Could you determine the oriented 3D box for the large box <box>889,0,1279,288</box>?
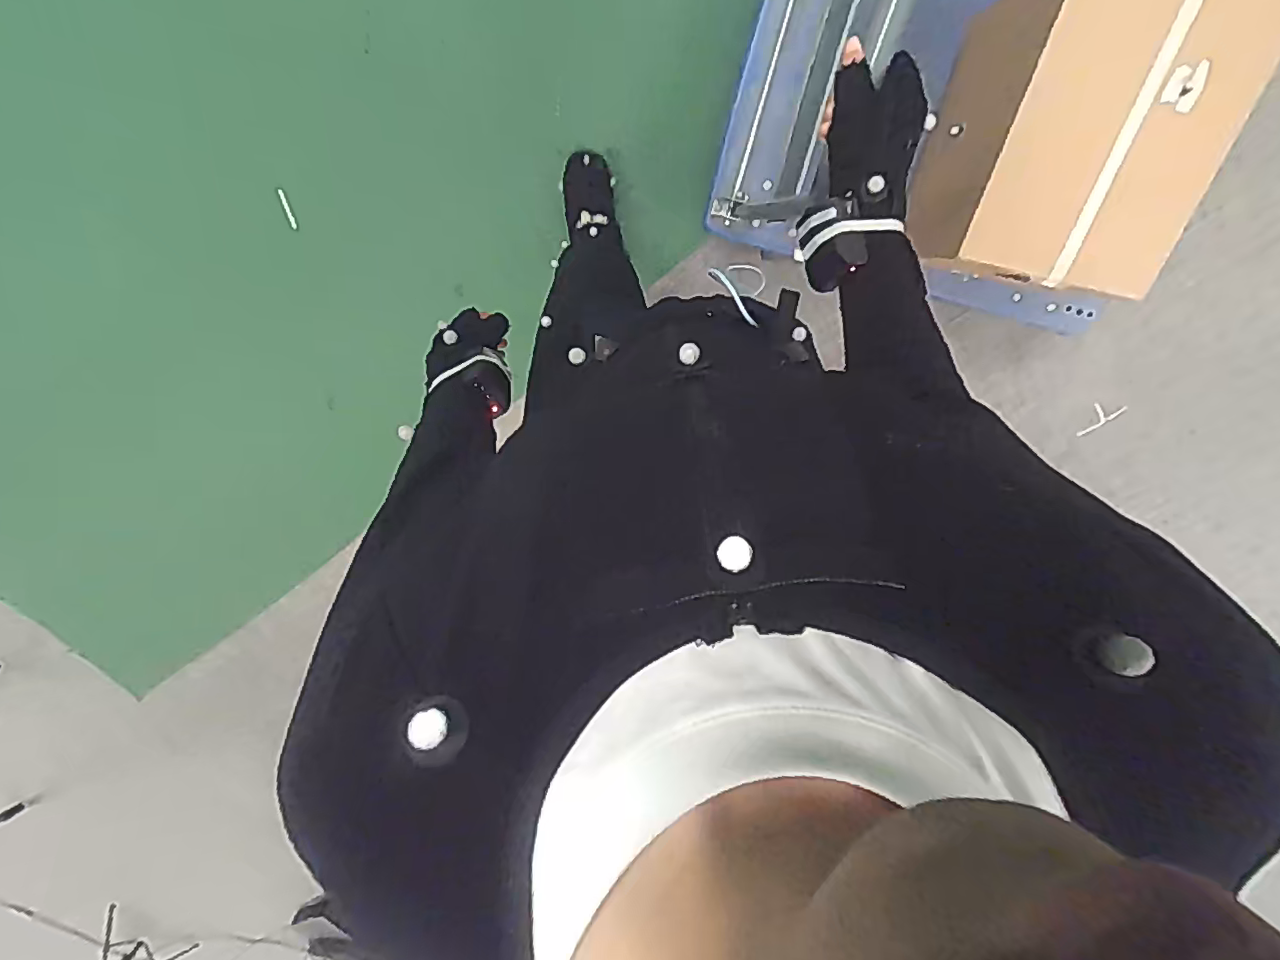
[{"bbox_3d":[0.690,-0.568,0.915,0.320,0.320,0.408,13,113,-3],"label":"large box"}]
